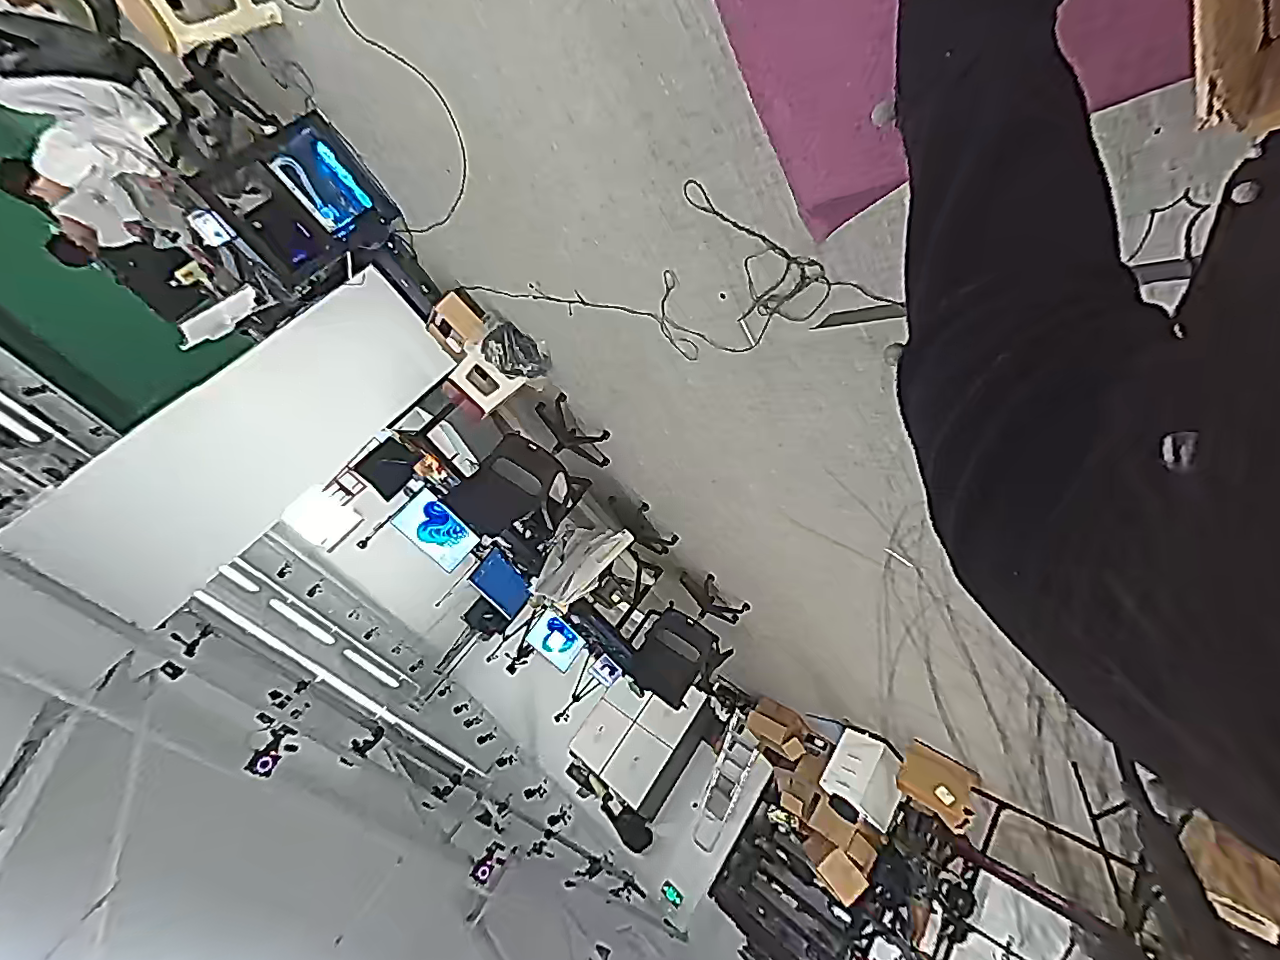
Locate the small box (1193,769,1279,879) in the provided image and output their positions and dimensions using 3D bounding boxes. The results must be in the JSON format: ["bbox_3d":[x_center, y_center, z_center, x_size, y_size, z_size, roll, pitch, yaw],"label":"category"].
[{"bbox_3d":[1.655,0.935,1.483,0.168,0.176,0.179,12,144,49],"label":"small box"}]
